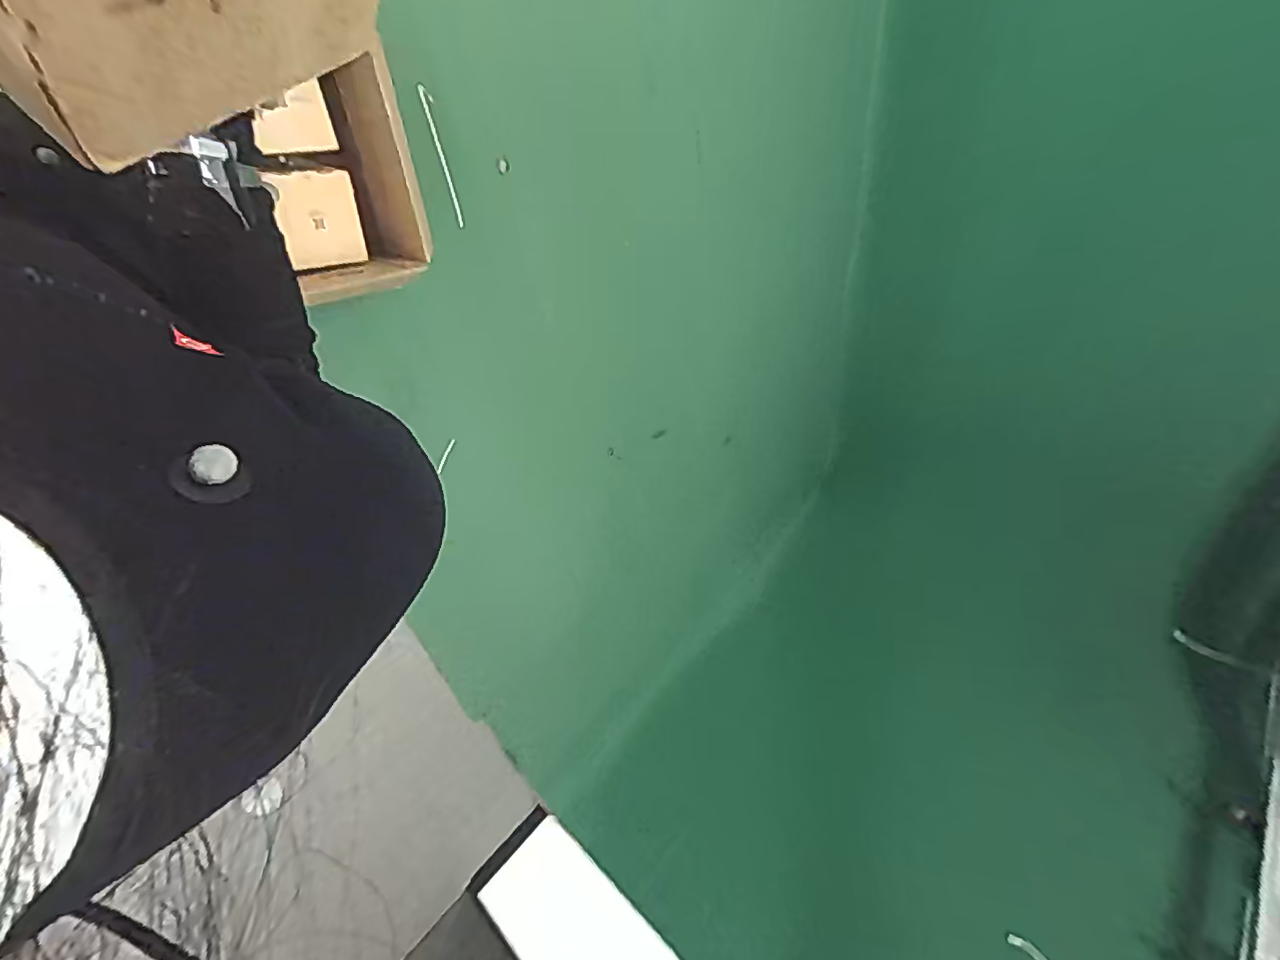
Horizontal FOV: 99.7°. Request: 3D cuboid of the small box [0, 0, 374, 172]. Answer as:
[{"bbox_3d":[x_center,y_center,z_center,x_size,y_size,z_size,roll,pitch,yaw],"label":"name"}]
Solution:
[{"bbox_3d":[-0.224,-0.273,0.204,0.176,0.168,0.179,47,64,-19],"label":"small box"}]
